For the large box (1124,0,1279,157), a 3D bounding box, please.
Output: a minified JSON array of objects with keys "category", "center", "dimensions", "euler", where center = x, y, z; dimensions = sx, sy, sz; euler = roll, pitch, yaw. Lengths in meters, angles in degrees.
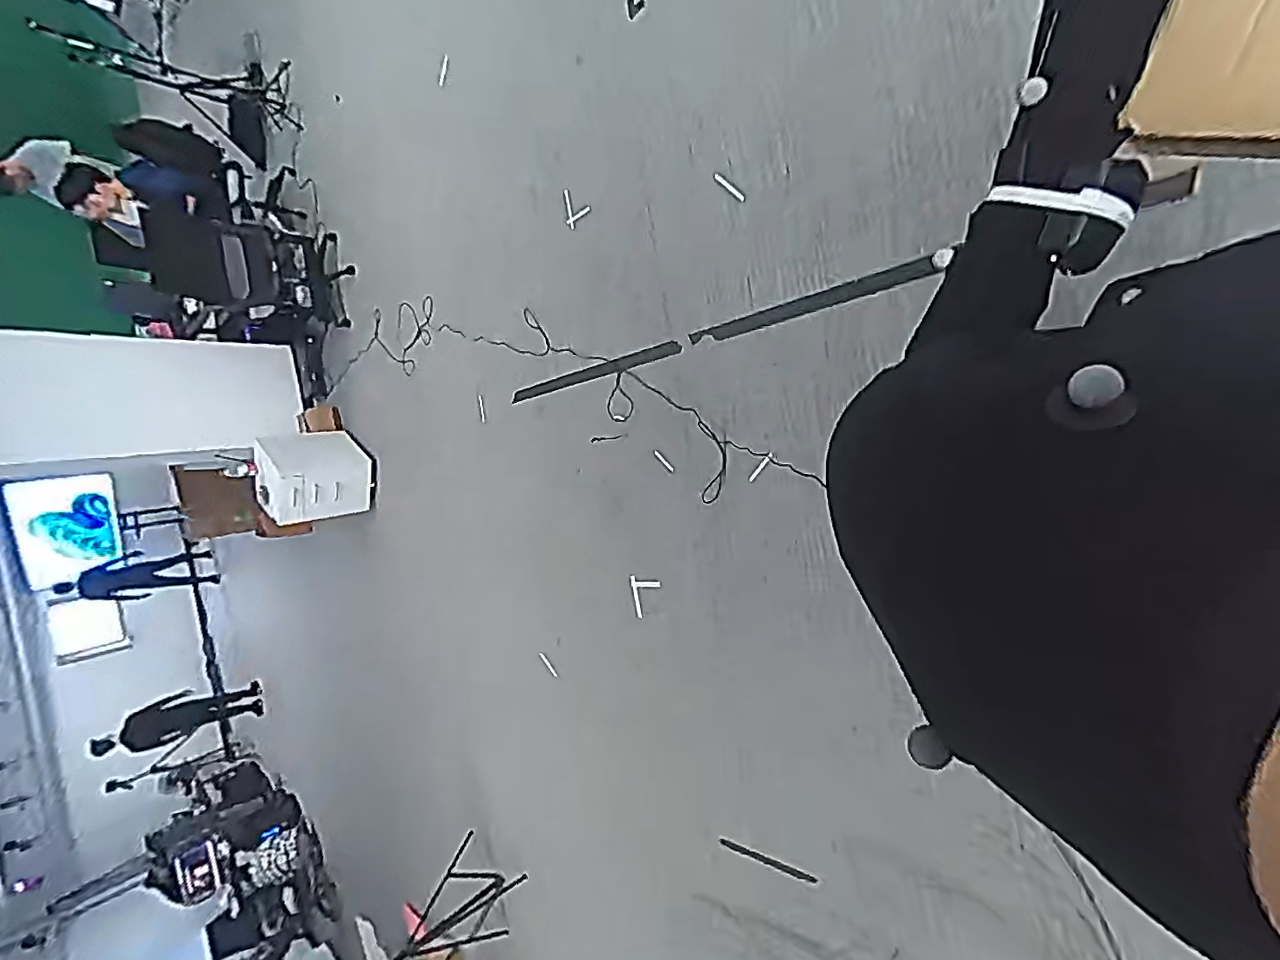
[{"category":"large box","center":[0.590,-0.366,0.302],"dimensions":[0.408,0.320,0.320],"euler":[24,128,33]}]
